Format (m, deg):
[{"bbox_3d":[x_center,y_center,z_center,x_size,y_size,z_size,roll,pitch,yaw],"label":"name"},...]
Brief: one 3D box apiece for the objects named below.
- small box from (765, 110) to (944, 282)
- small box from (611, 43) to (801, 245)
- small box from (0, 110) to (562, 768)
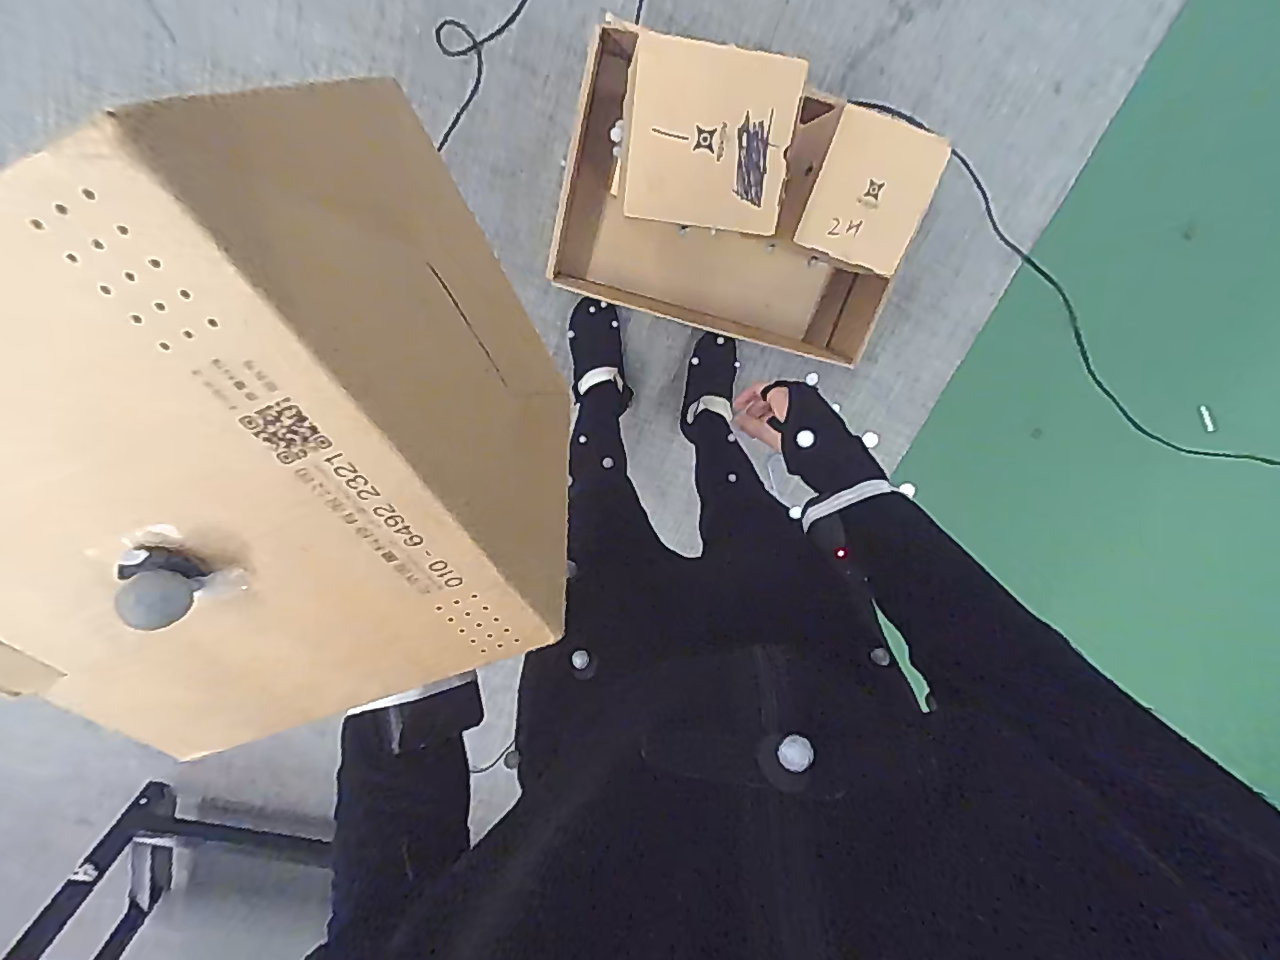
[{"bbox_3d":[0.307,-0.420,0.821,0.168,0.176,0.179,15,114,-10],"label":"small box"},{"bbox_3d":[0.062,-0.383,0.642,0.179,0.176,0.168,4,116,-7],"label":"small box"},{"bbox_3d":[-0.143,-0.020,0.220,0.176,0.179,0.168,-19,128,11],"label":"small box"}]
